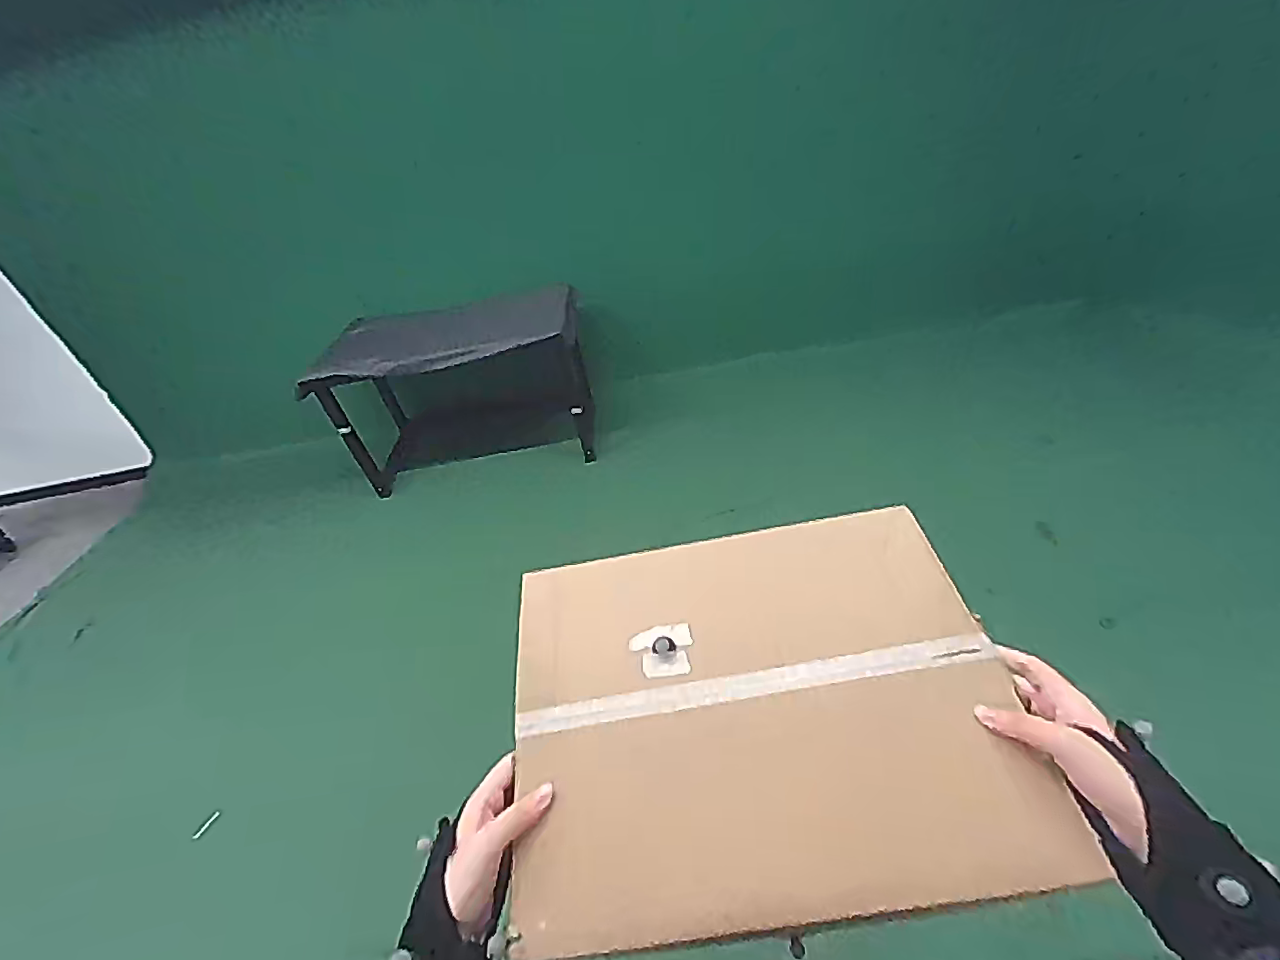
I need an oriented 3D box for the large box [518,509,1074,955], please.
[{"bbox_3d":[0.116,0.277,0.586,0.408,0.320,0.320,-12,48,4],"label":"large box"}]
